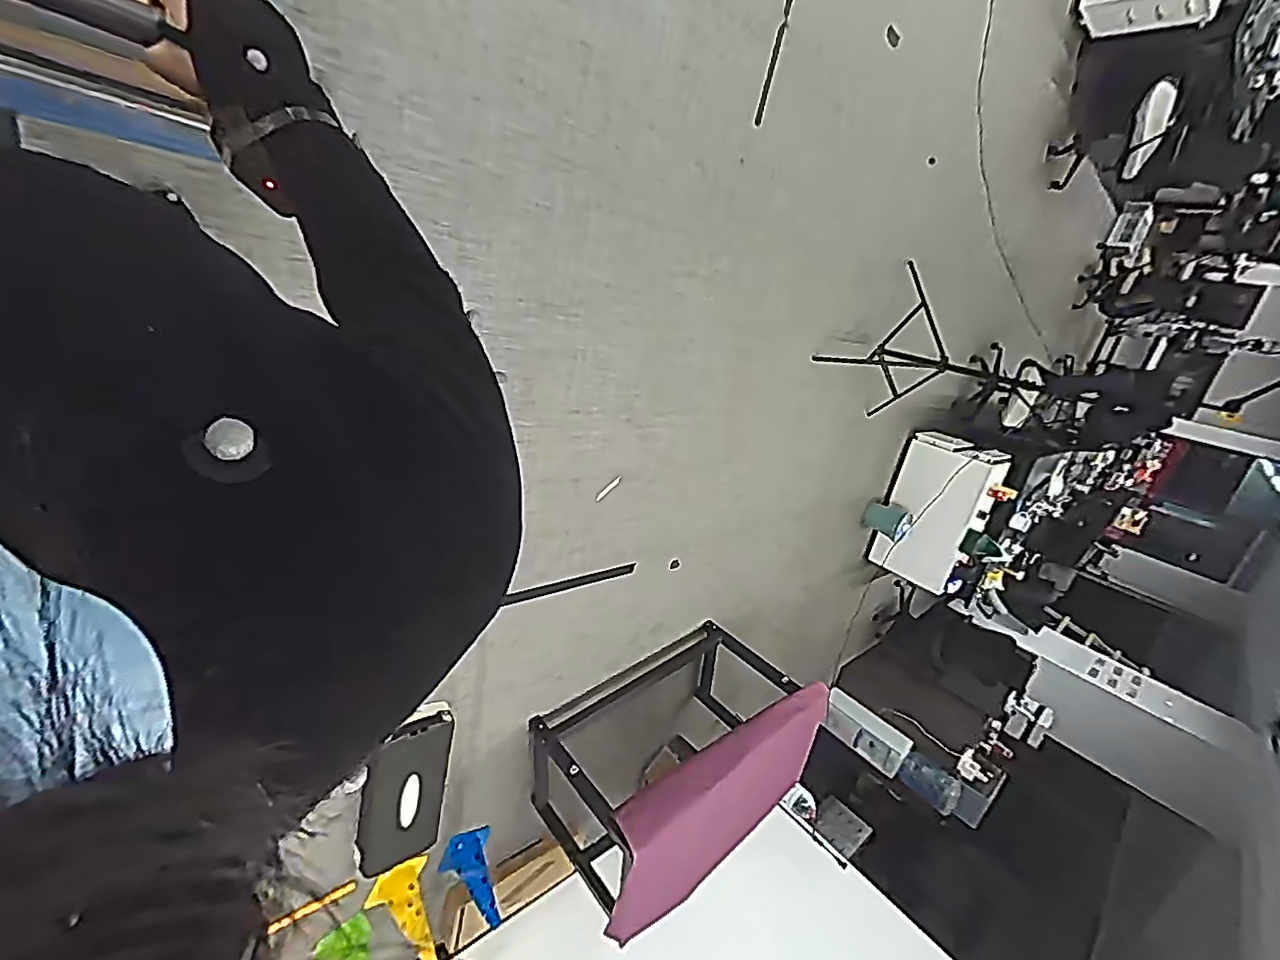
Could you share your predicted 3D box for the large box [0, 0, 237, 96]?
[{"bbox_3d":[-0.760,-0.726,0.645,0.408,0.320,0.320,-6,115,-43],"label":"large box"}]
